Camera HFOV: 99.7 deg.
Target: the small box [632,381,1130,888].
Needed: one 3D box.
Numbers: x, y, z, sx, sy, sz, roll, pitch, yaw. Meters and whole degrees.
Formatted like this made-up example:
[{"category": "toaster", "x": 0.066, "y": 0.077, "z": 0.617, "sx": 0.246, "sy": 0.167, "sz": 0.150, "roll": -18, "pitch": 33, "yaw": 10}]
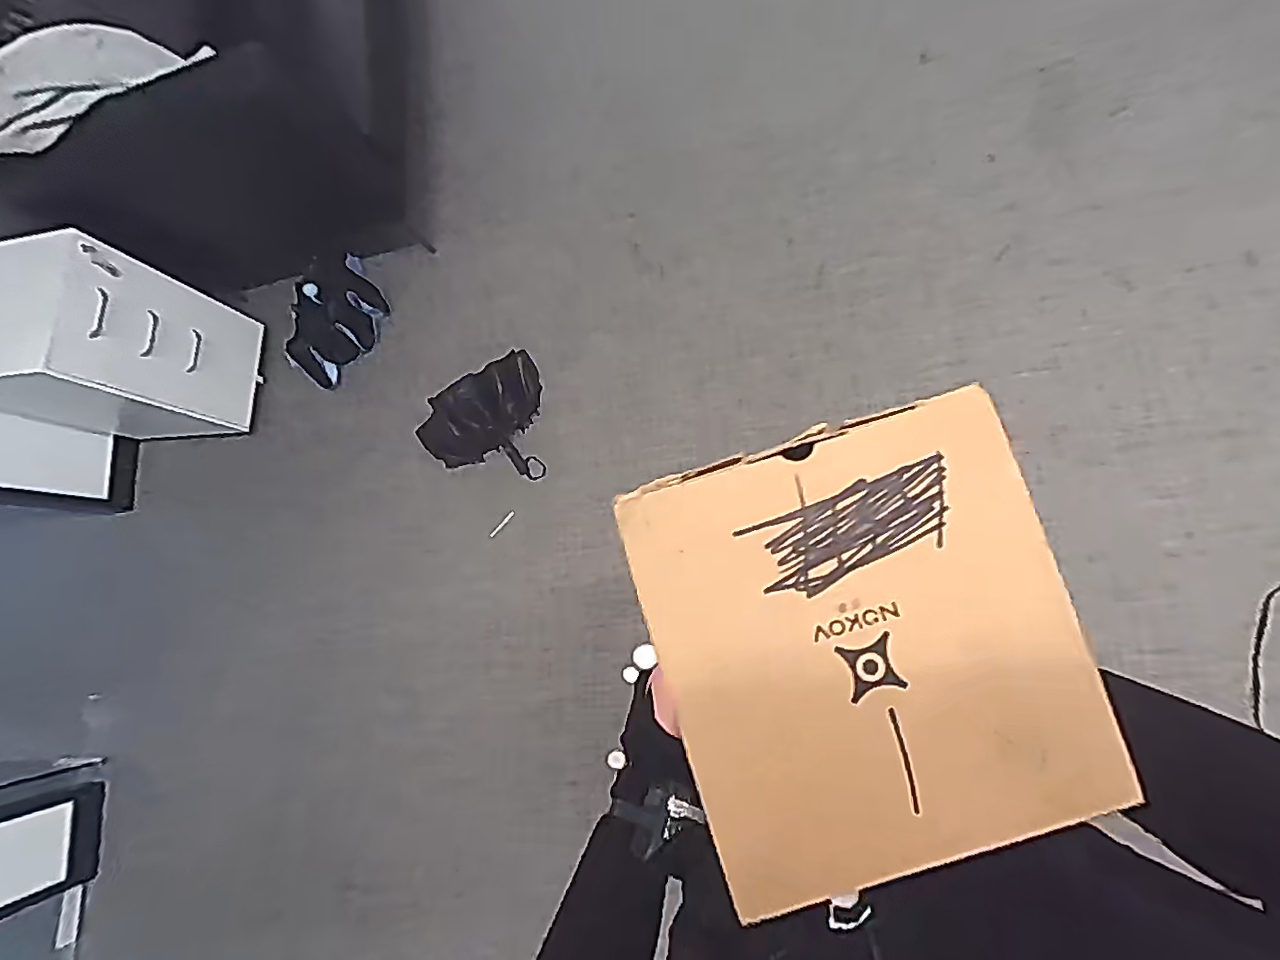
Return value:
[{"category": "small box", "x": 0.098, "y": 0.069, "z": 0.306, "sx": 0.168, "sy": 0.176, "sz": 0.179, "roll": -17, "pitch": 84, "yaw": 1}]
